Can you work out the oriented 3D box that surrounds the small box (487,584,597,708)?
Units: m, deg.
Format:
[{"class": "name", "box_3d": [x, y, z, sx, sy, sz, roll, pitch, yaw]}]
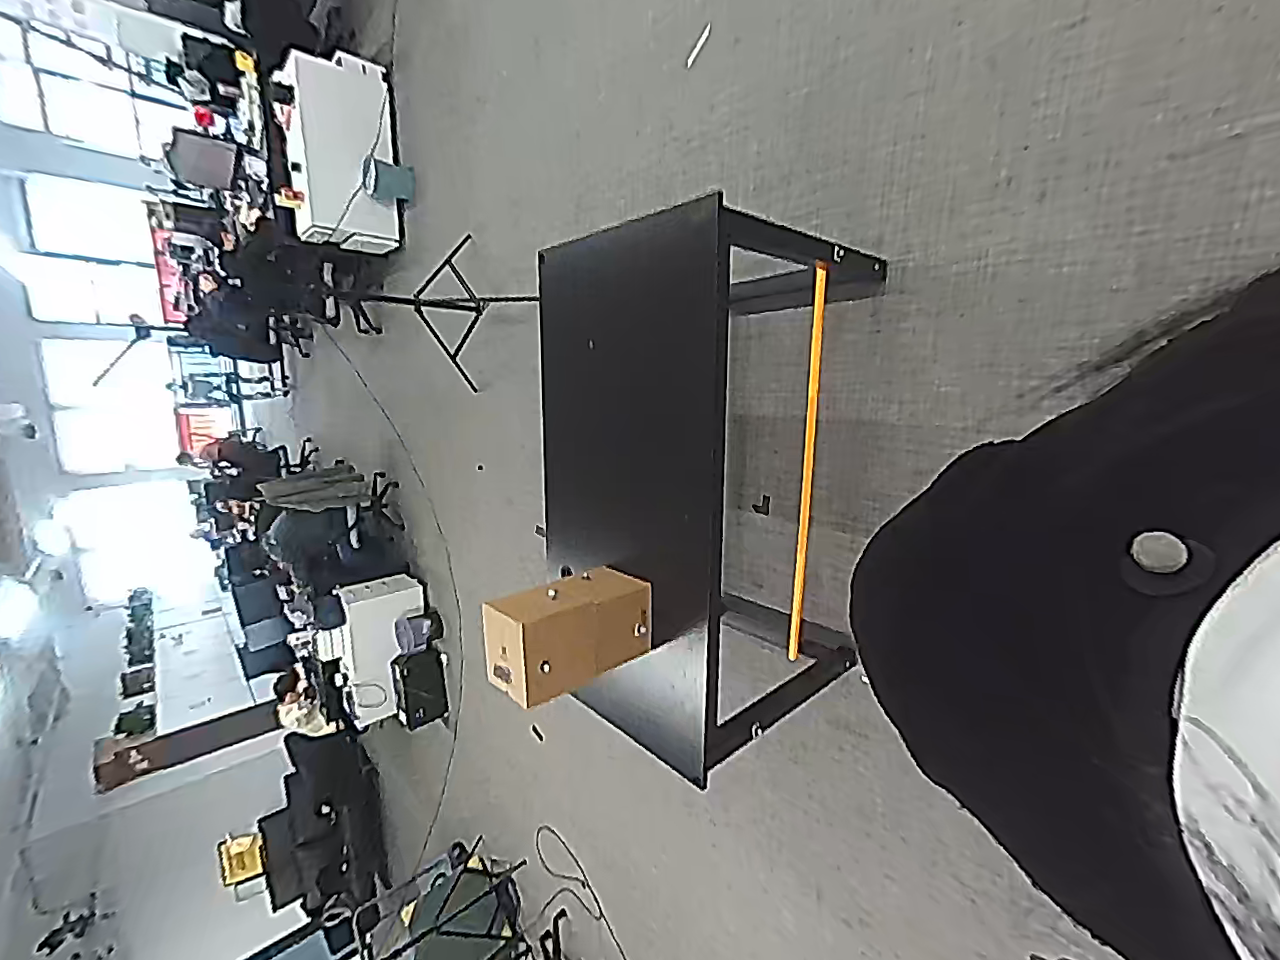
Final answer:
[{"class": "small box", "box_3d": [-0.201, 0.335, 1.129, 0.168, 0.176, 0.179, 7, 102, 48]}]

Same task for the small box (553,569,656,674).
[{"class": "small box", "box_3d": [-0.082, 0.313, 1.241, 0.179, 0.176, 0.168, 9, 104, 47]}]
